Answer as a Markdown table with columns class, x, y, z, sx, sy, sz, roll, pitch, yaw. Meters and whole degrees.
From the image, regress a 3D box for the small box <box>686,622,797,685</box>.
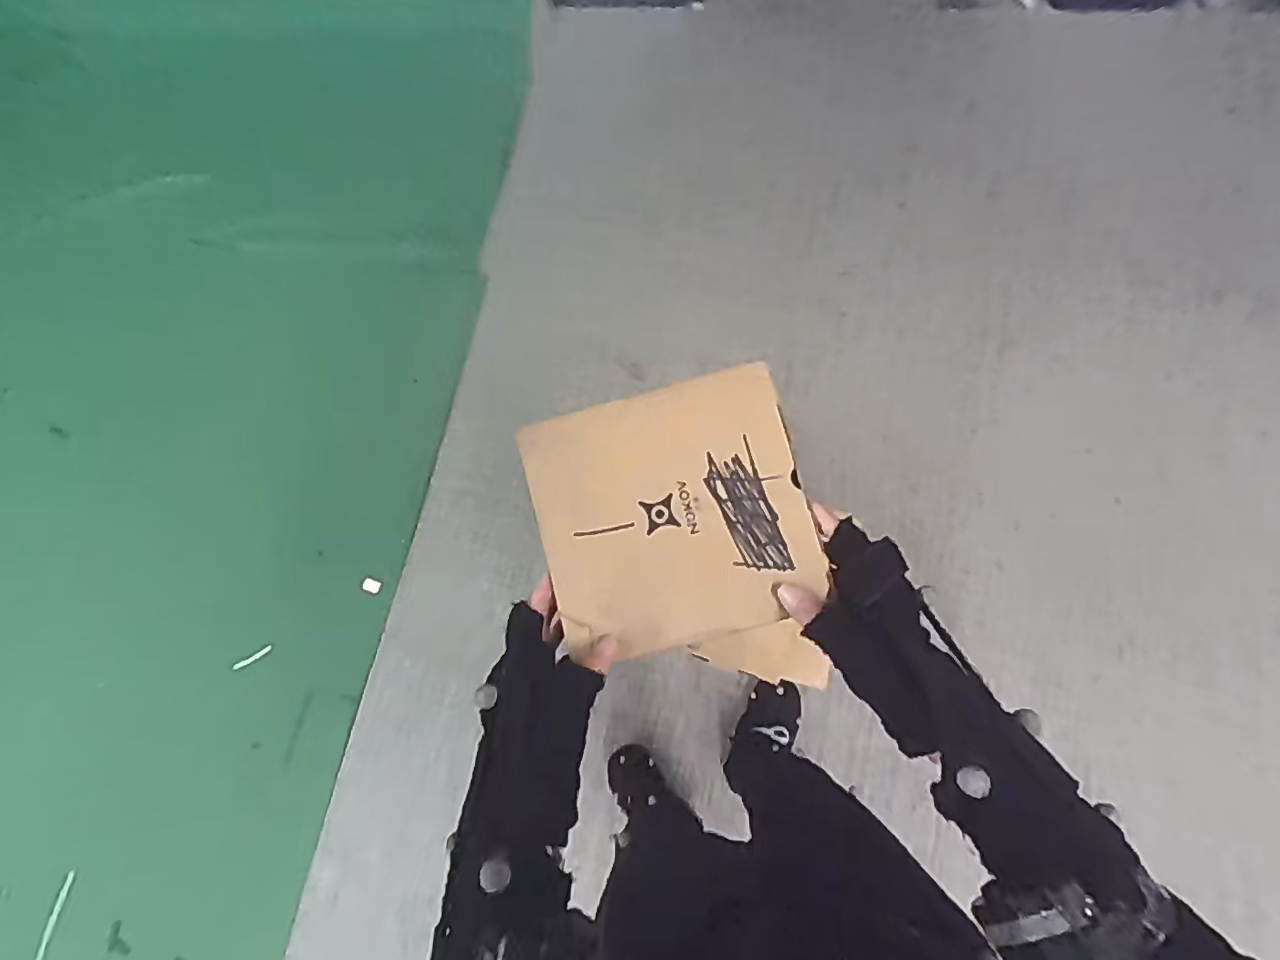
| class | x | y | z | sx | sy | sz | roll | pitch | yaw |
| --- | --- | --- | --- | --- | --- | --- | --- | --- | --- |
| small box | 0.168 | 0.207 | 0.882 | 0.168 | 0.176 | 0.179 | 15 | 83 | 13 |

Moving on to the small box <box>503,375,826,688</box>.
| class | x | y | z | sx | sy | sz | roll | pitch | yaw |
| --- | --- | --- | --- | --- | --- | --- | --- | --- | --- |
| small box | 0.017 | 0.039 | 0.427 | 0.179 | 0.176 | 0.168 | -17 | 82 | 2 |
